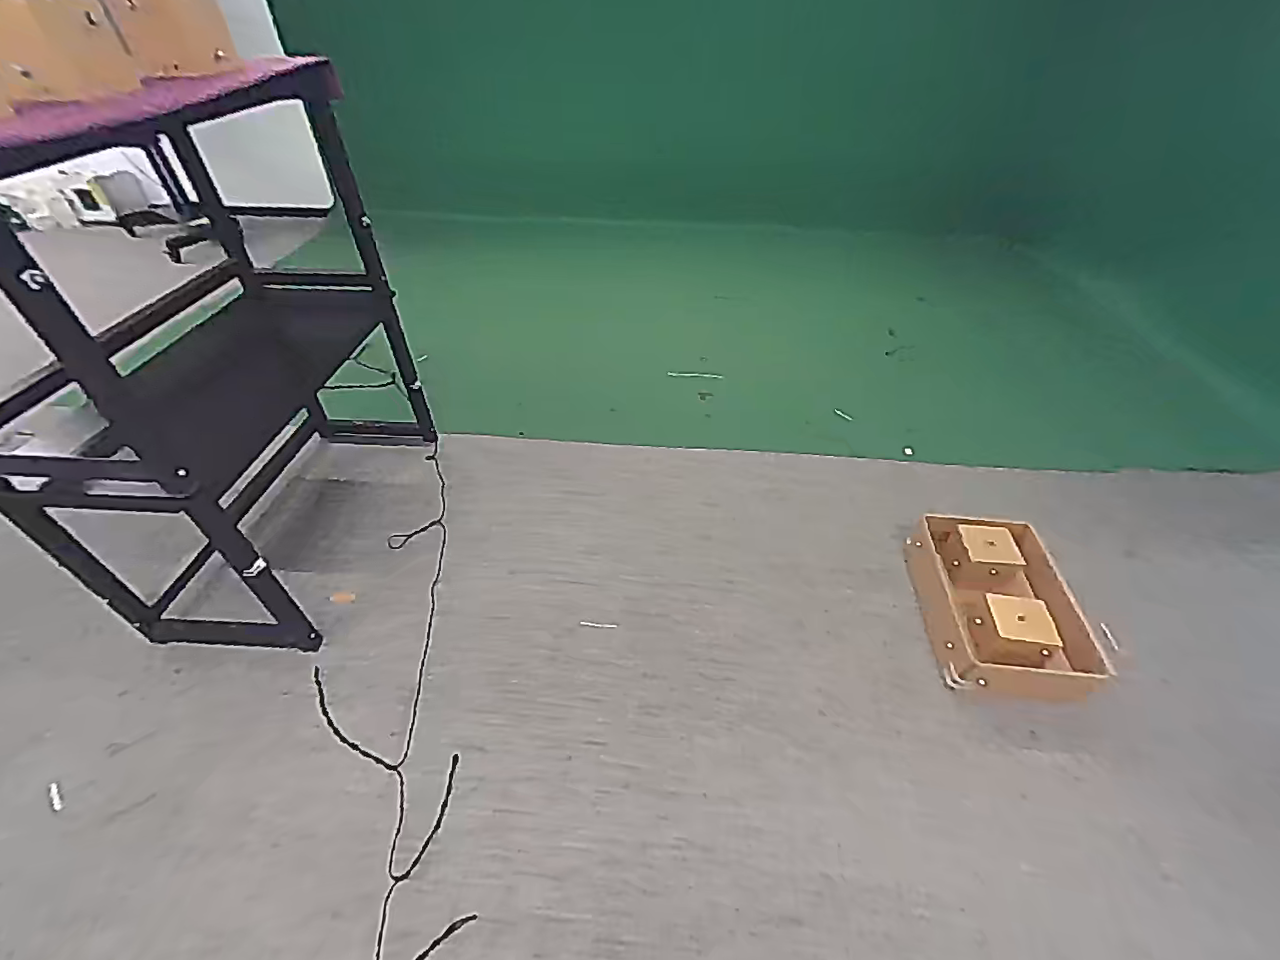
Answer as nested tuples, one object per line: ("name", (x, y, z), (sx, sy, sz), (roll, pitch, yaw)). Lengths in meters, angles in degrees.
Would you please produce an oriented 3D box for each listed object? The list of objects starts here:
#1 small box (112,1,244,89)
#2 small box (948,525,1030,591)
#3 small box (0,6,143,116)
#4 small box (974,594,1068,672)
("small box", (-1.182, -1.131, 1.407), (0.168, 0.176, 0.179), (1, 42, 4))
("small box", (1.222, 0.279, 1.915), (0.179, 0.176, 0.168), (4, 44, 5))
("small box", (-1.209, -0.879, 1.133), (0.168, 0.176, 0.179), (2, 43, 4))
("small box", (1.181, 0.482, 1.698), (0.179, 0.176, 0.168), (6, 43, 8))
